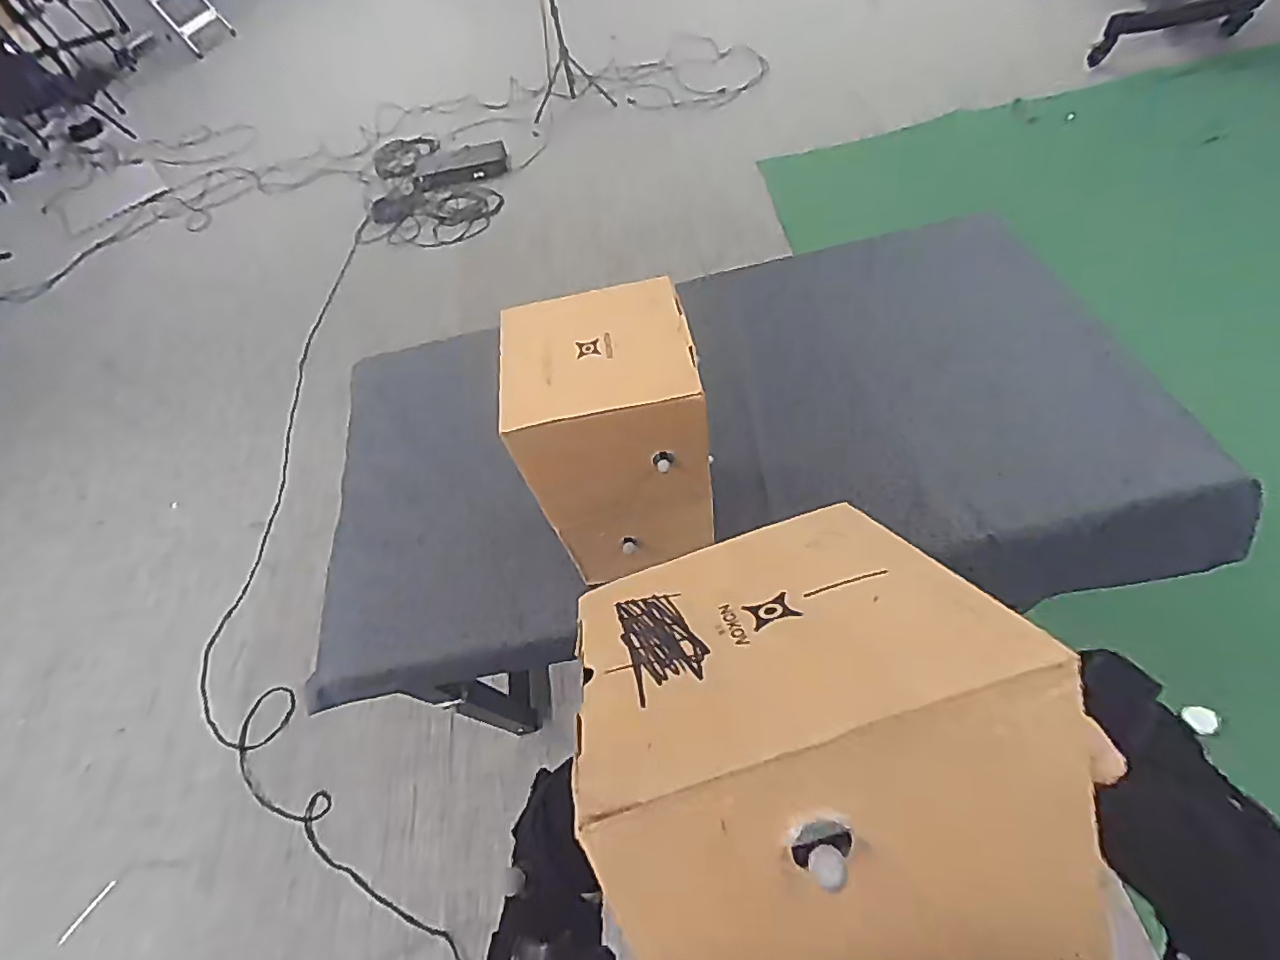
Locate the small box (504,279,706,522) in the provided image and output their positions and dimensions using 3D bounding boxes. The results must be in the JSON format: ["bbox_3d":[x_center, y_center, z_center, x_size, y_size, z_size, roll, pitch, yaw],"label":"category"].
[{"bbox_3d":[-0.030,-0.076,0.568,0.179,0.176,0.168,-12,54,3],"label":"small box"}]

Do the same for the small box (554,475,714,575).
[{"bbox_3d":[-0.006,0.010,0.704,0.179,0.176,0.168,-11,56,3],"label":"small box"}]
